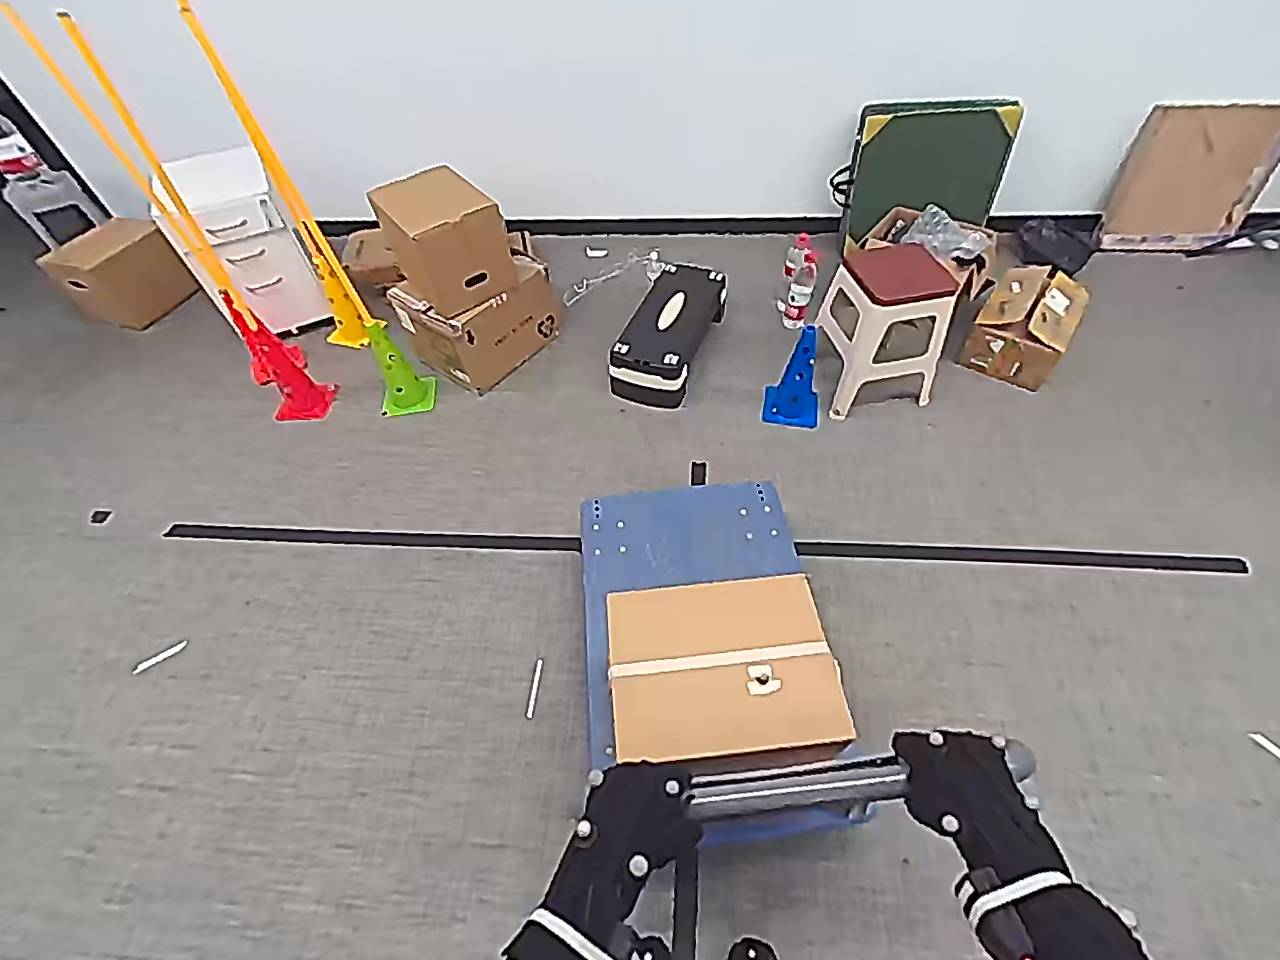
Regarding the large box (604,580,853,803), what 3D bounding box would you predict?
[{"bbox_3d":[0.146,0.433,1.097,0.408,0.320,0.320,-6,52,-3],"label":"large box"}]
